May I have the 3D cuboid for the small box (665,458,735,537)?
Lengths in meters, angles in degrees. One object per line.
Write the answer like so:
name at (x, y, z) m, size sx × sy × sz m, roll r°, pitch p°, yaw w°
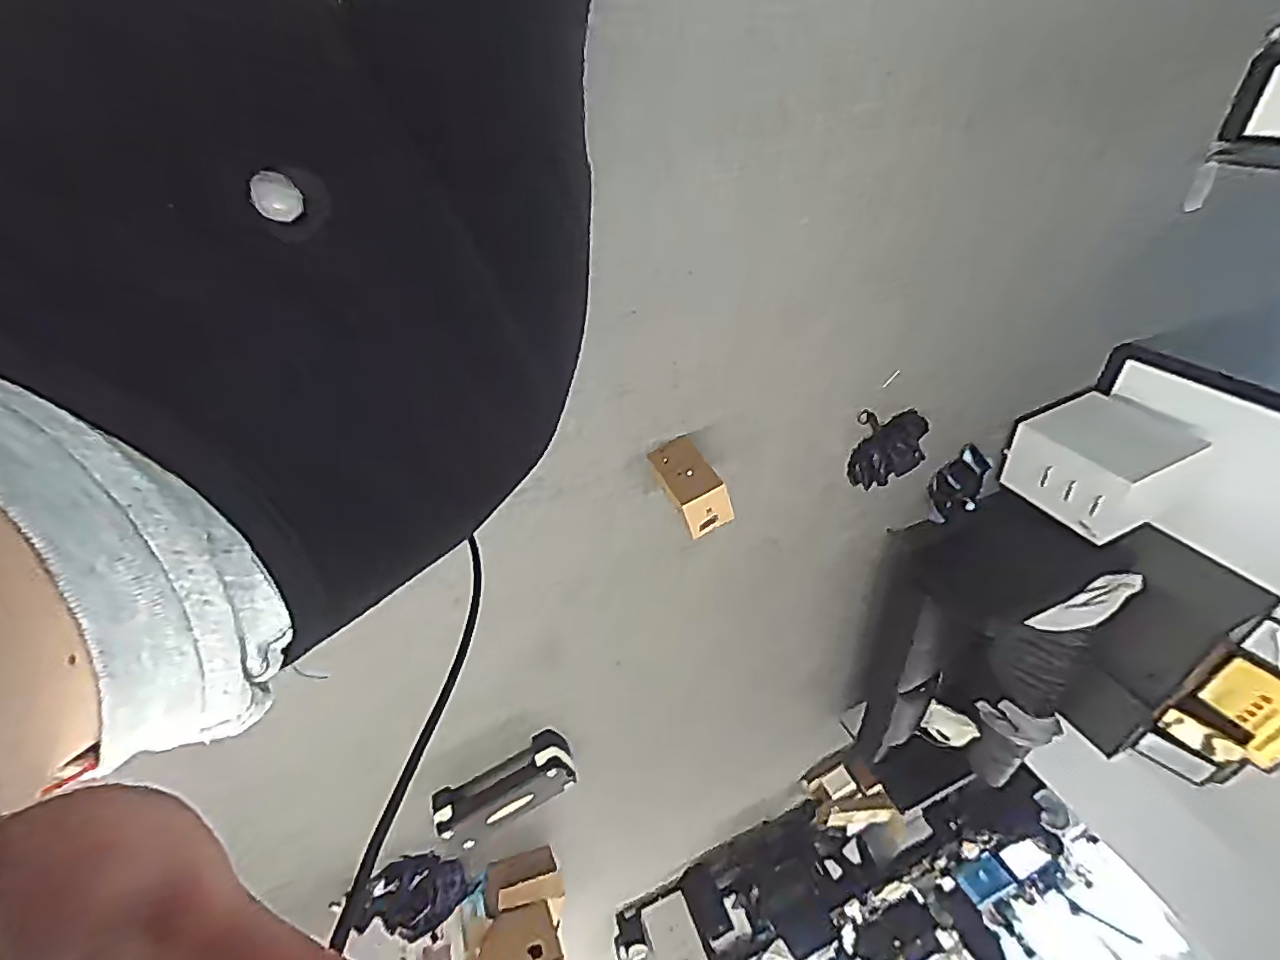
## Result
small box at (0.206, 0.058, 1.874) m, size 0.168 × 0.176 × 0.179 m, roll -28°, pitch 131°, yaw -5°

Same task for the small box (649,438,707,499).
small box at (0.151, -0.034, 1.999) m, size 0.168 × 0.176 × 0.179 m, roll -28°, pitch 133°, yaw -4°
